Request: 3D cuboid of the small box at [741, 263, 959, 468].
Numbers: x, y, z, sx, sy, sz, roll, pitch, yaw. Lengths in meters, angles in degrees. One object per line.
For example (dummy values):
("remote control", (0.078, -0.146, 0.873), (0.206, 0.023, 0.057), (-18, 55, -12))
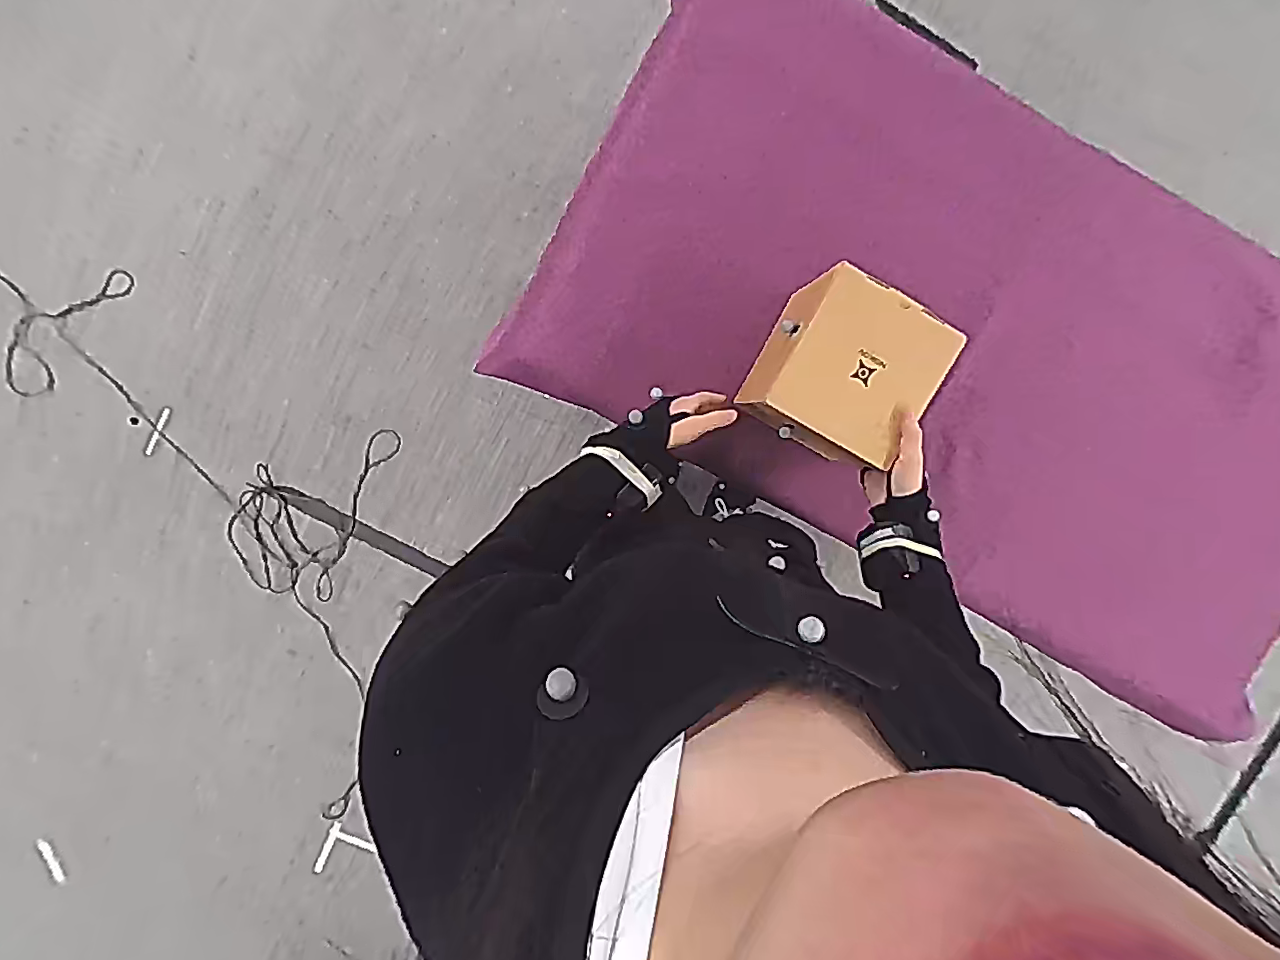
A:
("small box", (0.244, -0.134, 0.684), (0.168, 0.176, 0.179), (29, 94, -5))
